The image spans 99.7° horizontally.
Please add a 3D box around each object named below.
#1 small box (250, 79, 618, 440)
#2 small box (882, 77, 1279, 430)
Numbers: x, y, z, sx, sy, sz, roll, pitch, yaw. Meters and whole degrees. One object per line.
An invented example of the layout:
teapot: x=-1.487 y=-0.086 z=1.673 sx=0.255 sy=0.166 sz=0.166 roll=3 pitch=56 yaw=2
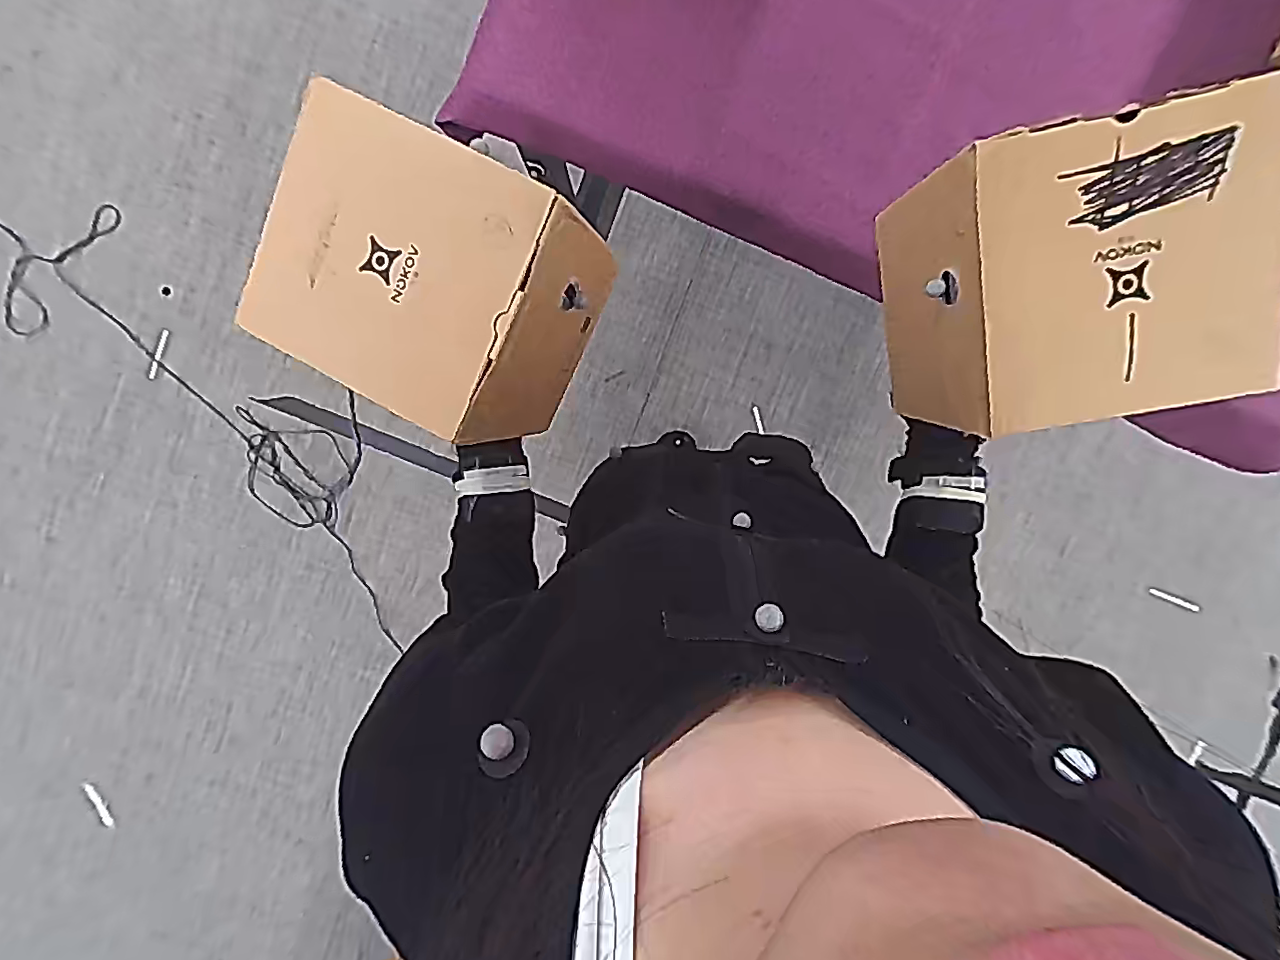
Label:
small box: x=-0.136 y=-0.146 z=0.415 sx=0.179 sy=0.176 sz=0.168 roll=28 pitch=101 yaw=6
small box: x=0.295 y=-0.143 z=0.400 sx=0.168 sy=0.176 sz=0.179 roll=-10 pitch=102 yaw=7
